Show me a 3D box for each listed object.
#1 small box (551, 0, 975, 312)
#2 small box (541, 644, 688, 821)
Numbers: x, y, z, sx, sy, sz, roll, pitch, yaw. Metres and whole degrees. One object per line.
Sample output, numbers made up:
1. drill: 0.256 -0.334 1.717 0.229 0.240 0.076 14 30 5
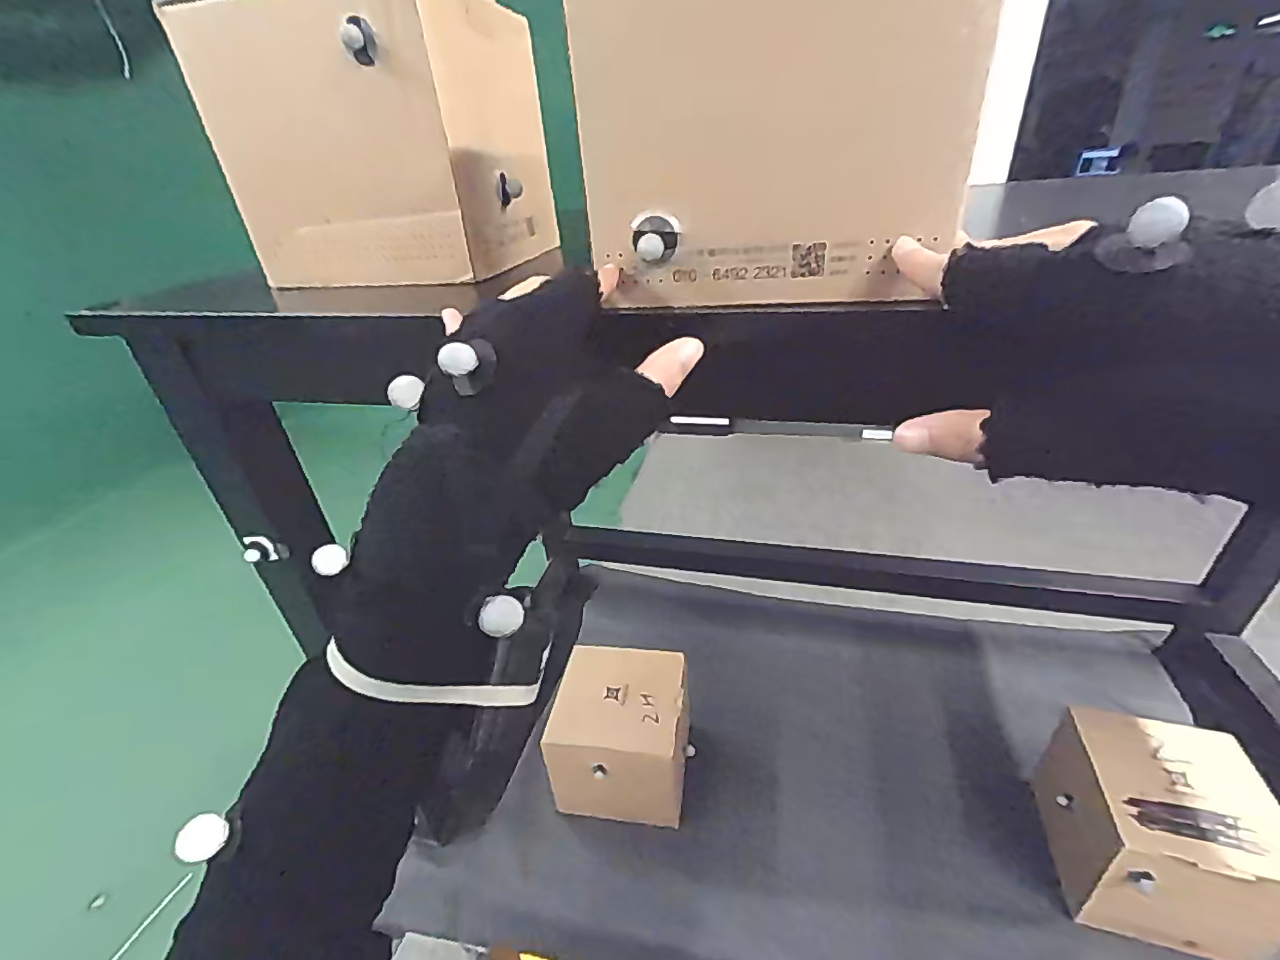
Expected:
1. small box: 0.066 -0.193 0.294 0.168 0.176 0.179 3 31 13
2. small box: -0.026 0.368 0.793 0.179 0.176 0.168 2 32 11
